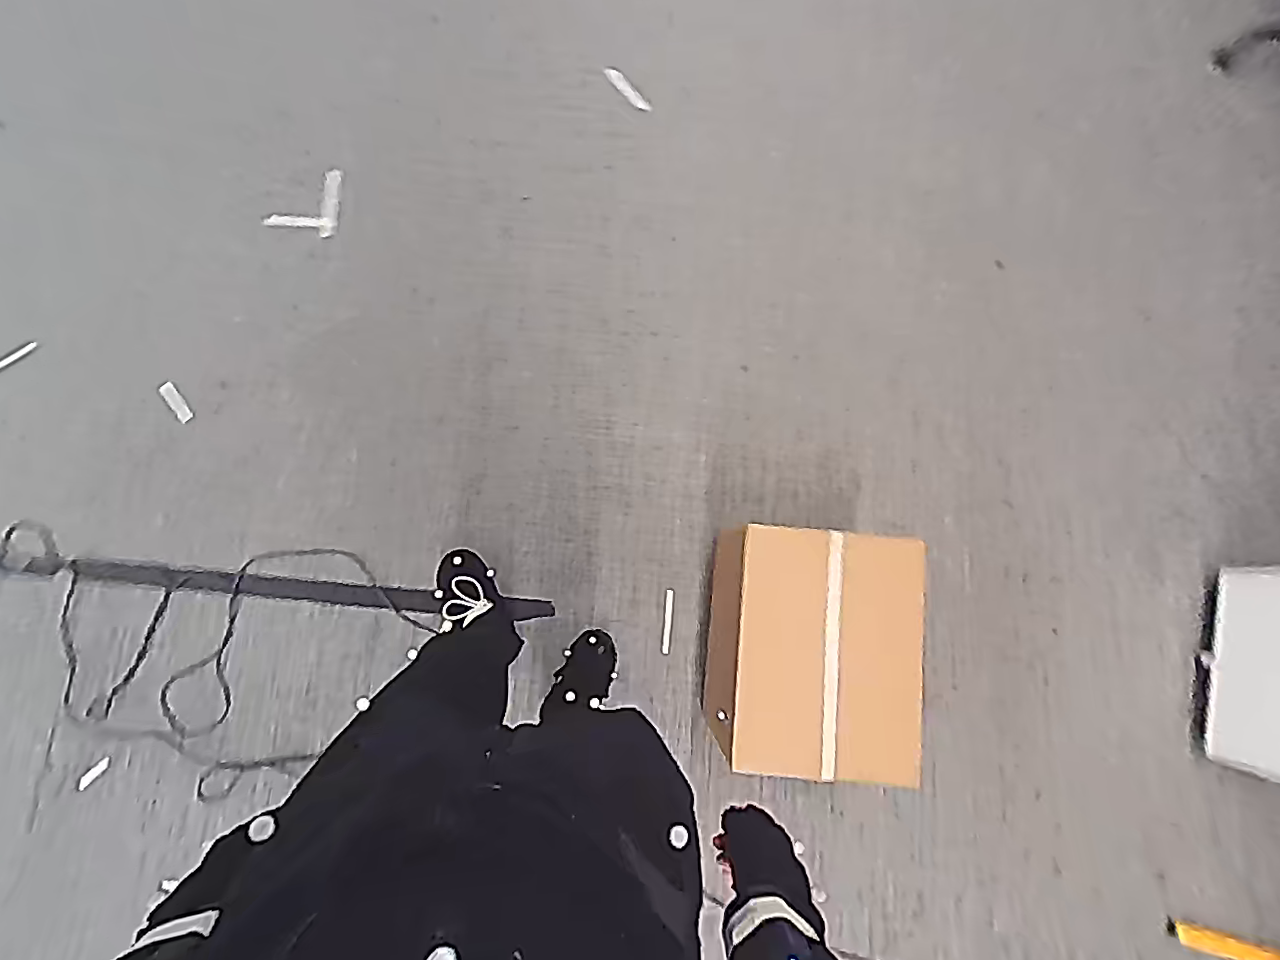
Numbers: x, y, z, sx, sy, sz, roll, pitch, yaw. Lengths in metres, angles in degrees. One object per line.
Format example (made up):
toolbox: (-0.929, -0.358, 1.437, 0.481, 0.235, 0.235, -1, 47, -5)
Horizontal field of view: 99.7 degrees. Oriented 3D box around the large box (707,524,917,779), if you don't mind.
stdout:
large box: (0.312, 0.308, 1.060, 0.320, 0.320, 0.408, 6, 82, -2)
